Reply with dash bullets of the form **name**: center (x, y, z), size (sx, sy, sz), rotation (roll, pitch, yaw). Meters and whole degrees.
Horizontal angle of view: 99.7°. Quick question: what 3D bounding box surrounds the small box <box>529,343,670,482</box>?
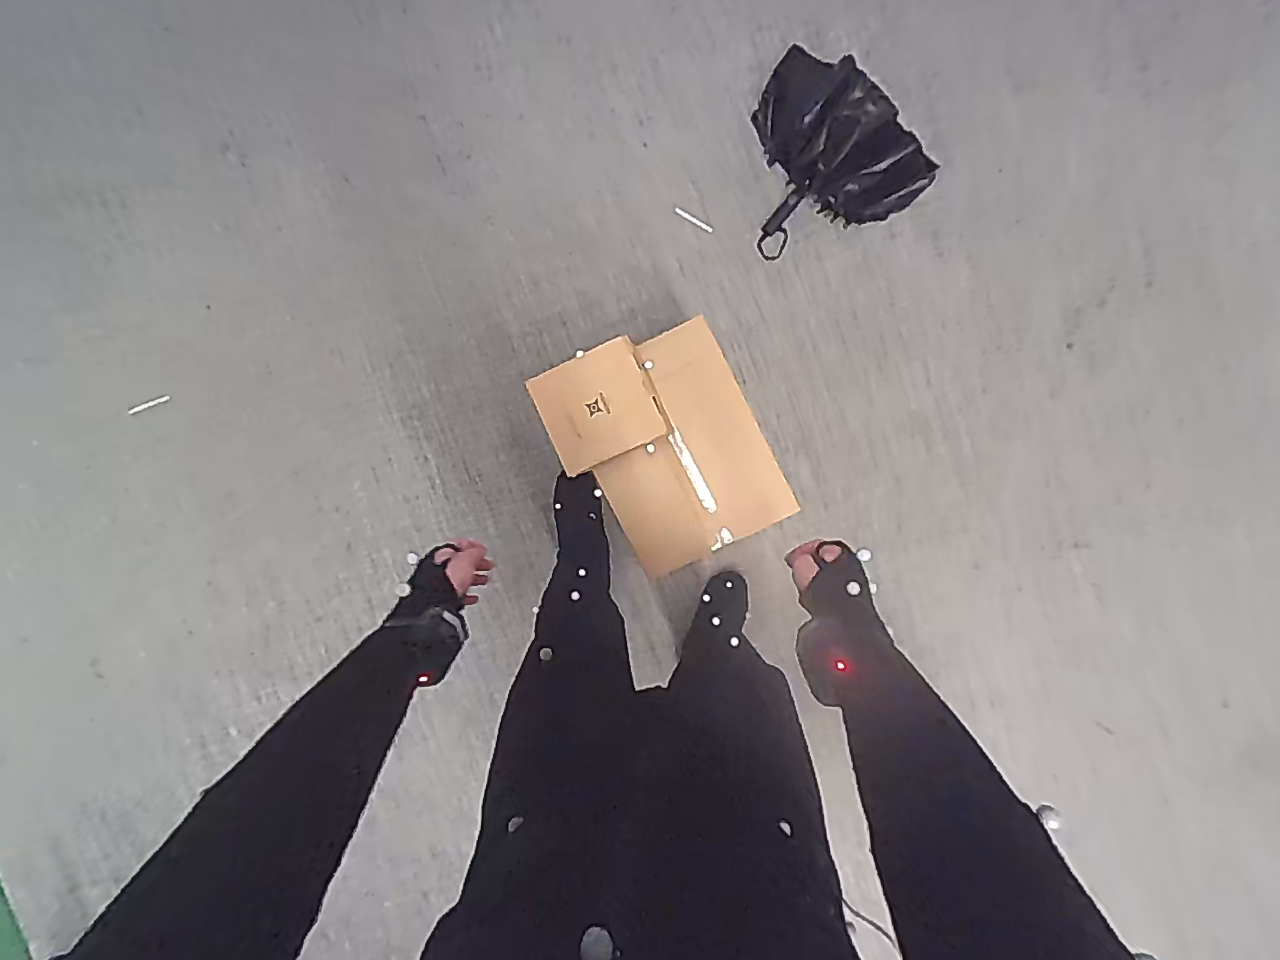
- **small box**: center (-0.056, -0.110, 0.914), size (0.179, 0.176, 0.168), rotation (-24, 90, 9)
